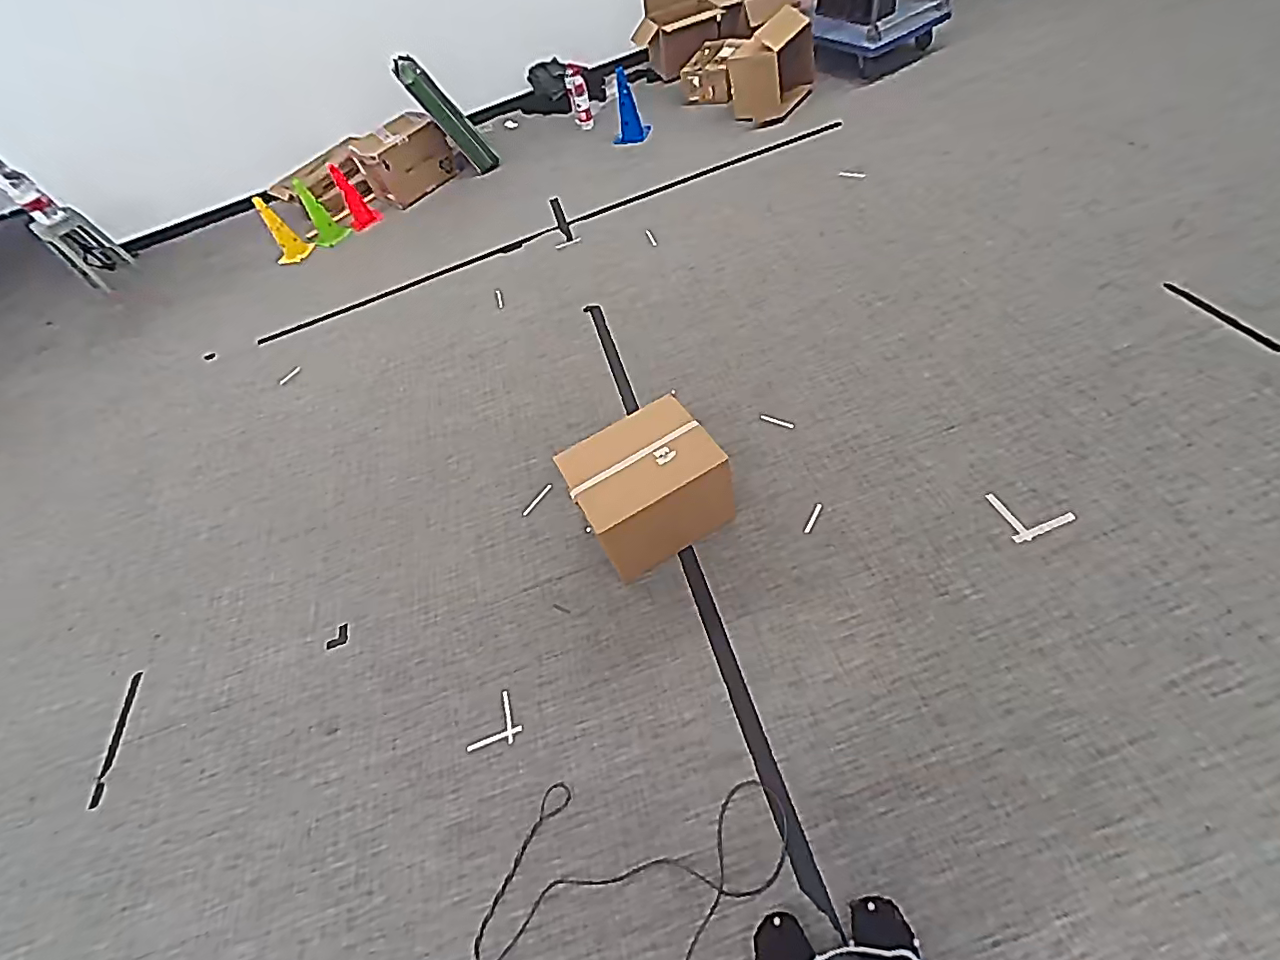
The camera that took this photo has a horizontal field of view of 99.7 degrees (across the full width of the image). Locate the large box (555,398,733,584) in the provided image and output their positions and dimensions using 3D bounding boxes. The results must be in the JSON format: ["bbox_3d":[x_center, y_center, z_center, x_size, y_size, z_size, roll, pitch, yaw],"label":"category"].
[{"bbox_3d":[0.020,0.036,1.609,0.408,0.320,0.320,-29,54,-8],"label":"large box"}]
